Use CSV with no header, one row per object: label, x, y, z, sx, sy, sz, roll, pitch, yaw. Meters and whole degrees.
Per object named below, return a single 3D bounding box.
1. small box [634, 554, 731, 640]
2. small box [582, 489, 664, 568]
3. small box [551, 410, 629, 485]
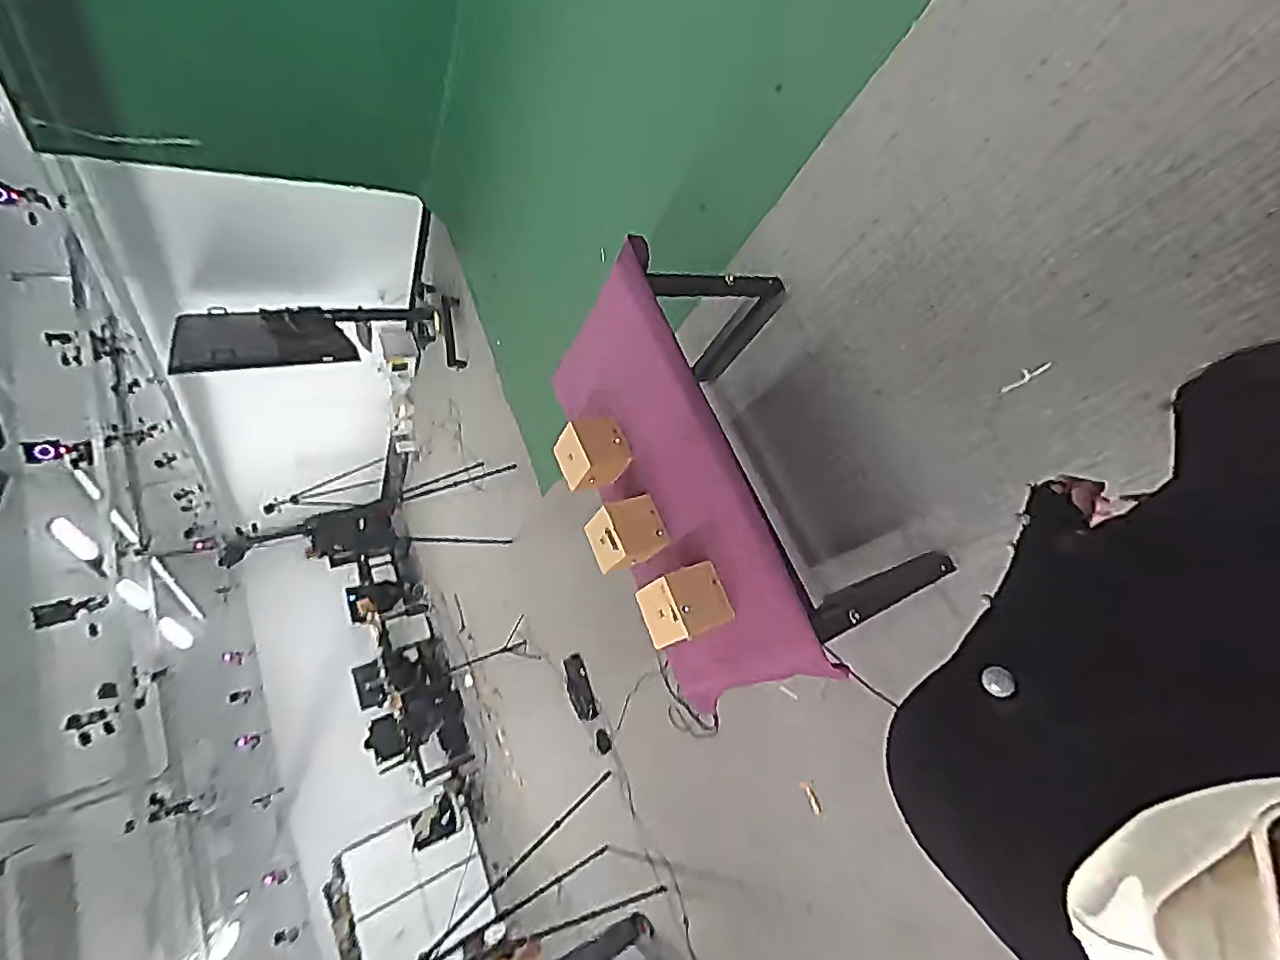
small box,0.115,0.319,1.478,0.179,0.176,0.168,-44,65,52
small box,-0.048,0.145,1.653,0.179,0.176,0.168,-46,63,52
small box,-0.159,-0.106,1.729,0.179,0.176,0.168,-46,64,50
